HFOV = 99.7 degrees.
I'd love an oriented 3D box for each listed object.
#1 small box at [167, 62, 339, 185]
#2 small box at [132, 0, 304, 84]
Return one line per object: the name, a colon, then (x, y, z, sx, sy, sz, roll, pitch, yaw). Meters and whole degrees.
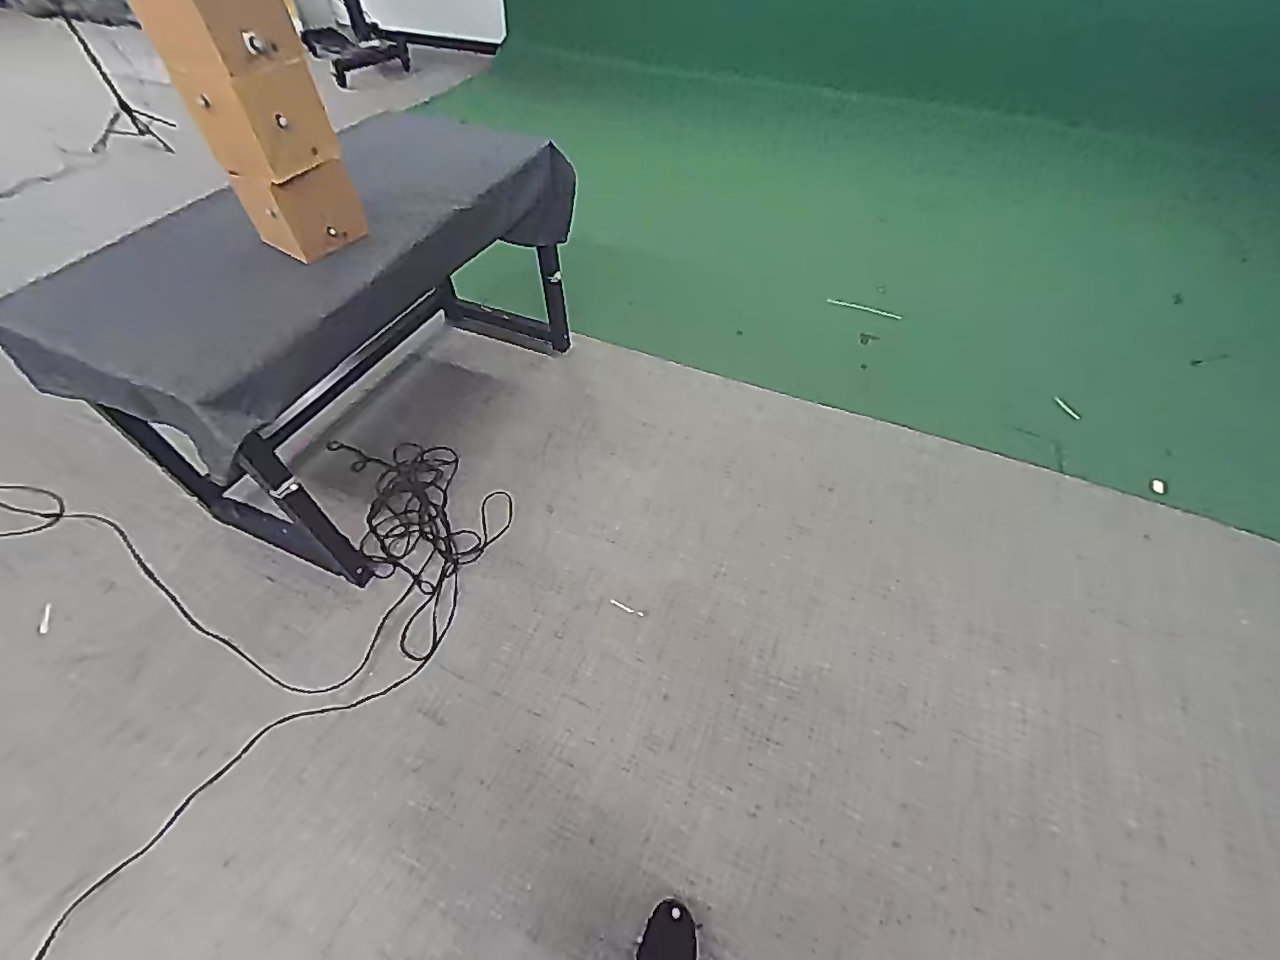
small box: (-0.731, -0.696, 1.044, 0.179, 0.176, 0.168, 21, 55, 17)
small box: (-0.731, -0.803, 0.922, 0.179, 0.176, 0.168, 20, 56, 15)
